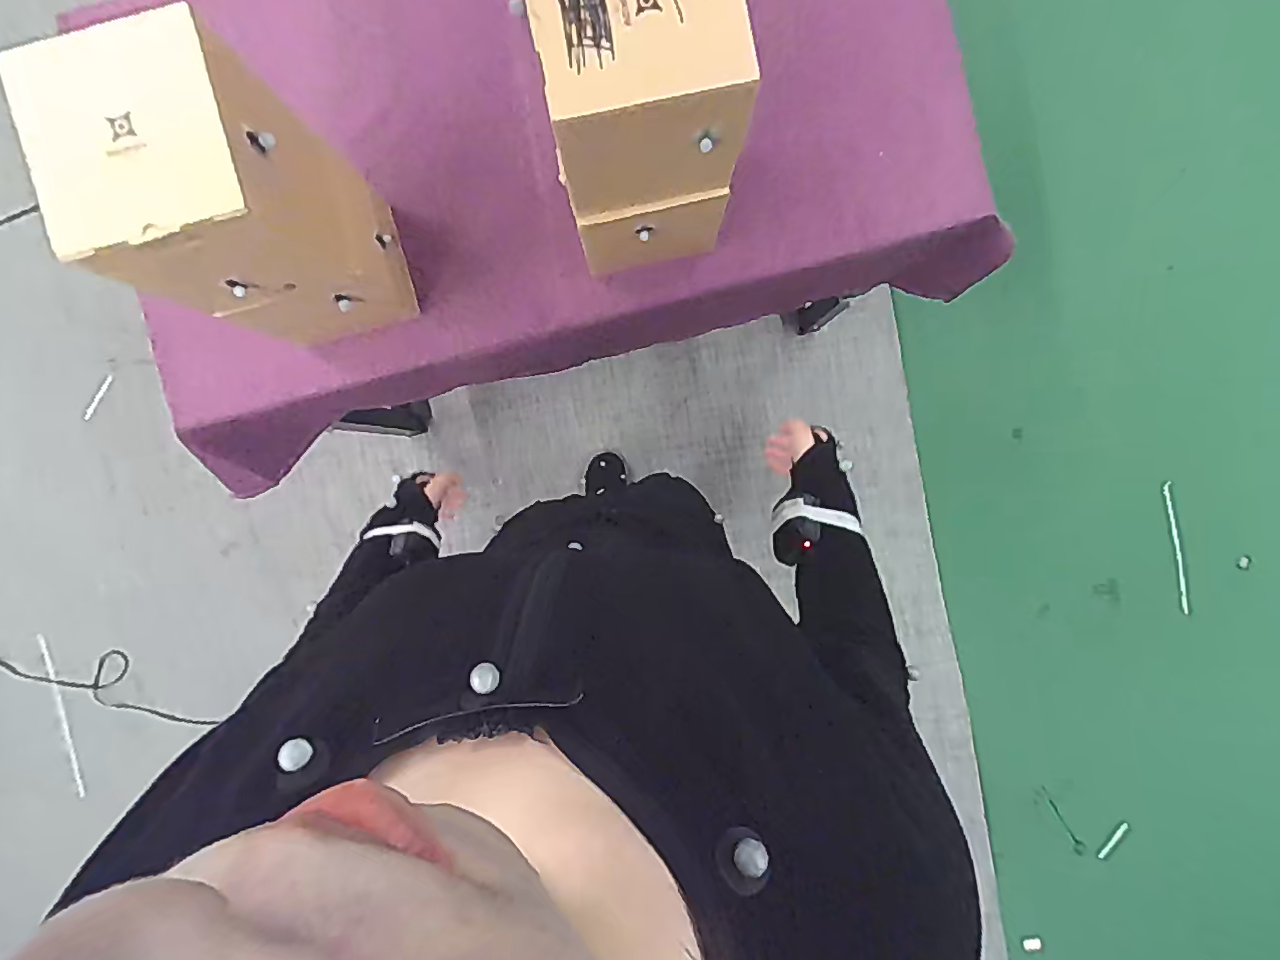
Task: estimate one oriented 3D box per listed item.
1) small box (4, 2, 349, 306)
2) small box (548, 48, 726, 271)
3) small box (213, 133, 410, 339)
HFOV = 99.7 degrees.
[{"bbox_3d":[-0.421,-0.292,0.525,0.168,0.176,0.179,-15,93,1],"label":"small box"},{"bbox_3d":[-0.002,-0.384,0.682,0.179,0.176,0.168,-12,92,1],"label":"small box"},{"bbox_3d":[-0.416,-0.294,0.689,0.179,0.176,0.168,-15,91,0],"label":"small box"}]
